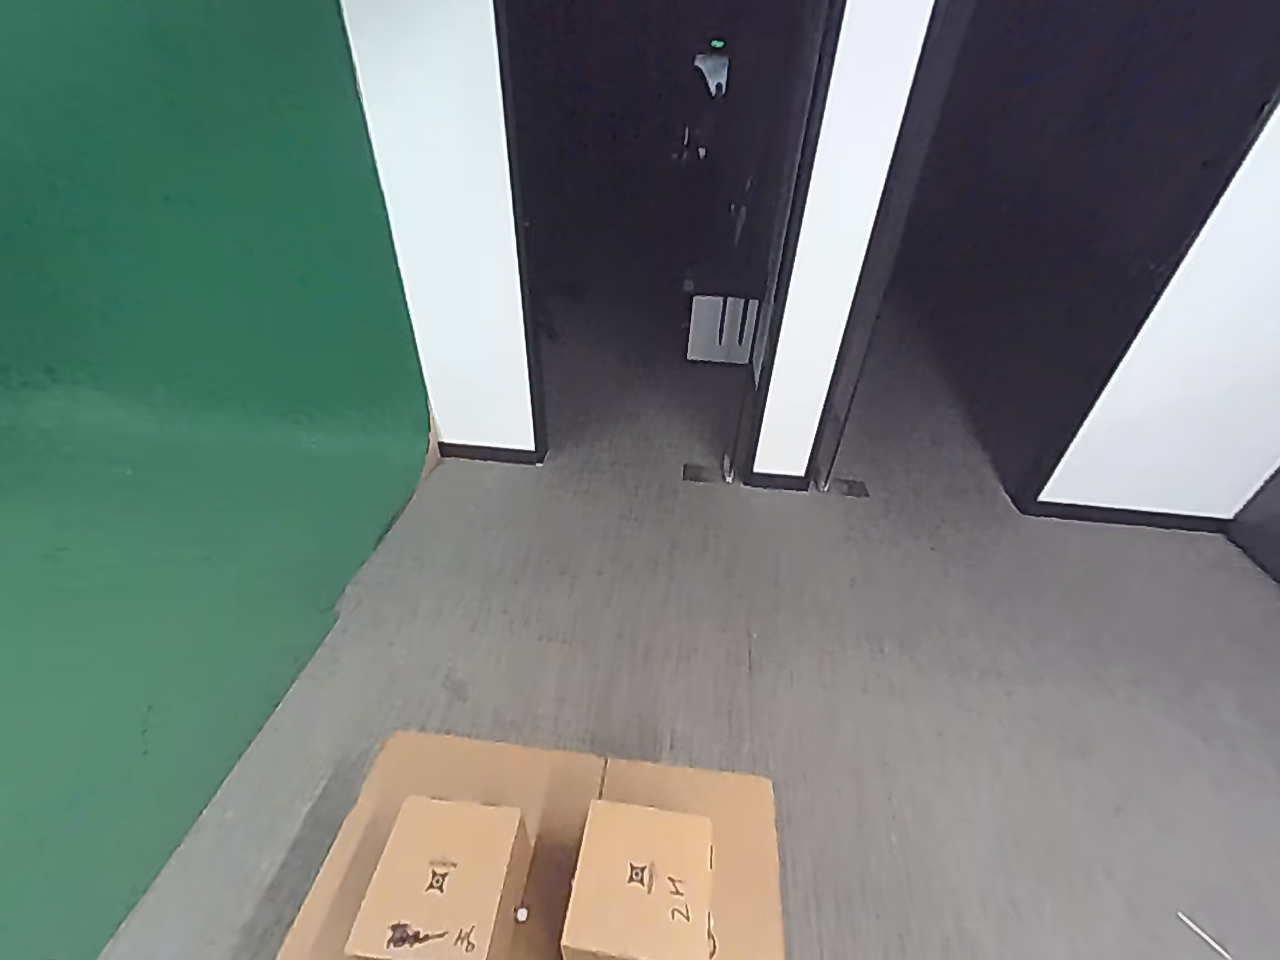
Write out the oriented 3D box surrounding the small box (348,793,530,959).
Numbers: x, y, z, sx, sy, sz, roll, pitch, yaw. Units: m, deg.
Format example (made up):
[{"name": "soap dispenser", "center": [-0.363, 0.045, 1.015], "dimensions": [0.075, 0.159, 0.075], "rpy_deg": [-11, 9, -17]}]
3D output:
[{"name": "small box", "center": [-0.251, 0.561, 0.730], "dimensions": [0.168, 0.176, 0.179], "rpy_deg": [3, 35, 4]}]
